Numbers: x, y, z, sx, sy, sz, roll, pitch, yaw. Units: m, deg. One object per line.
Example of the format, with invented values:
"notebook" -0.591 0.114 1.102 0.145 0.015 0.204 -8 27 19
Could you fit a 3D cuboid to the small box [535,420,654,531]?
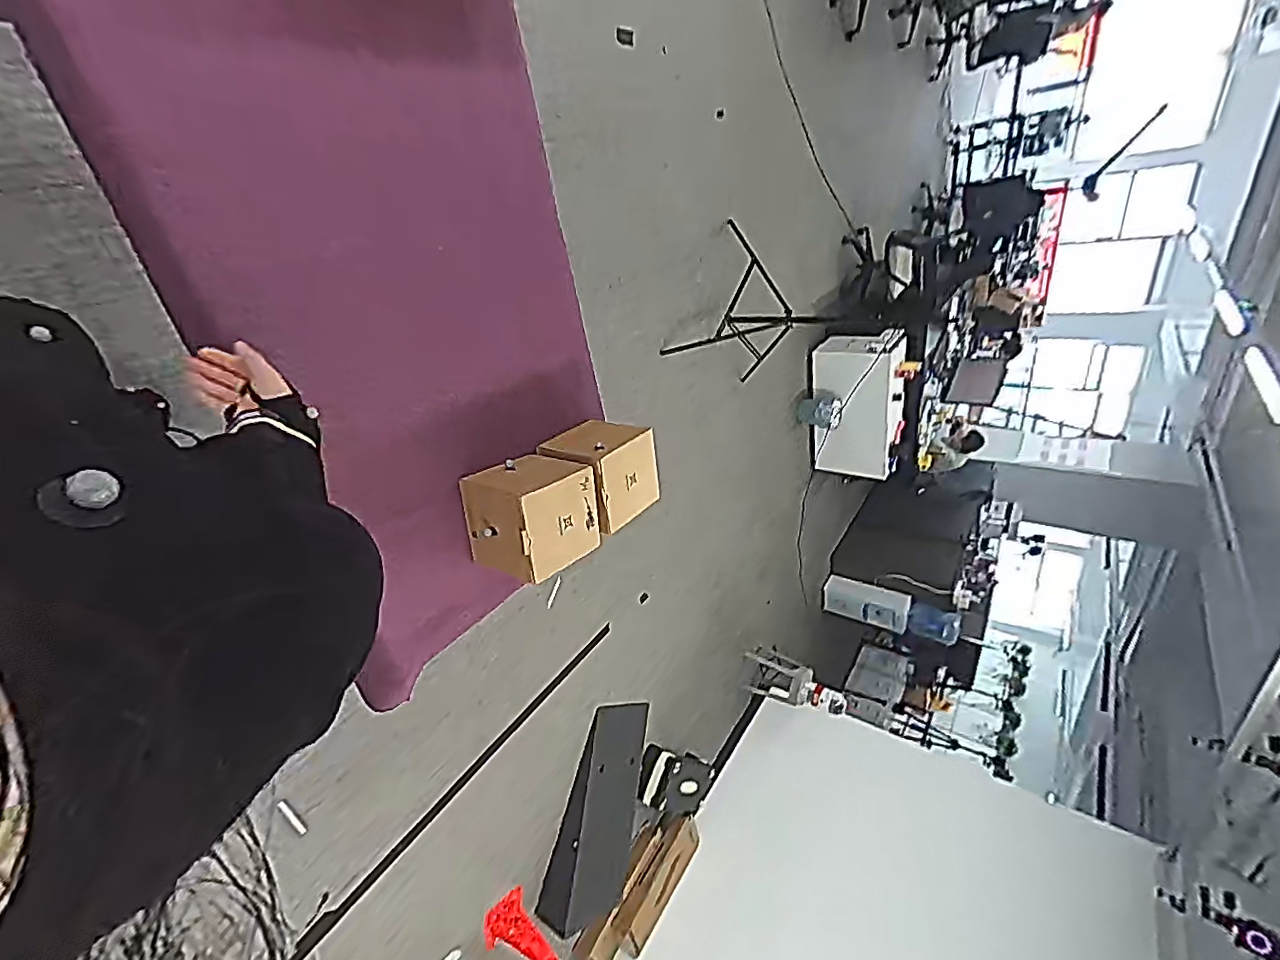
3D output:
"small box" -0.092 -0.019 1.132 0.179 0.176 0.168 -35 128 -45
